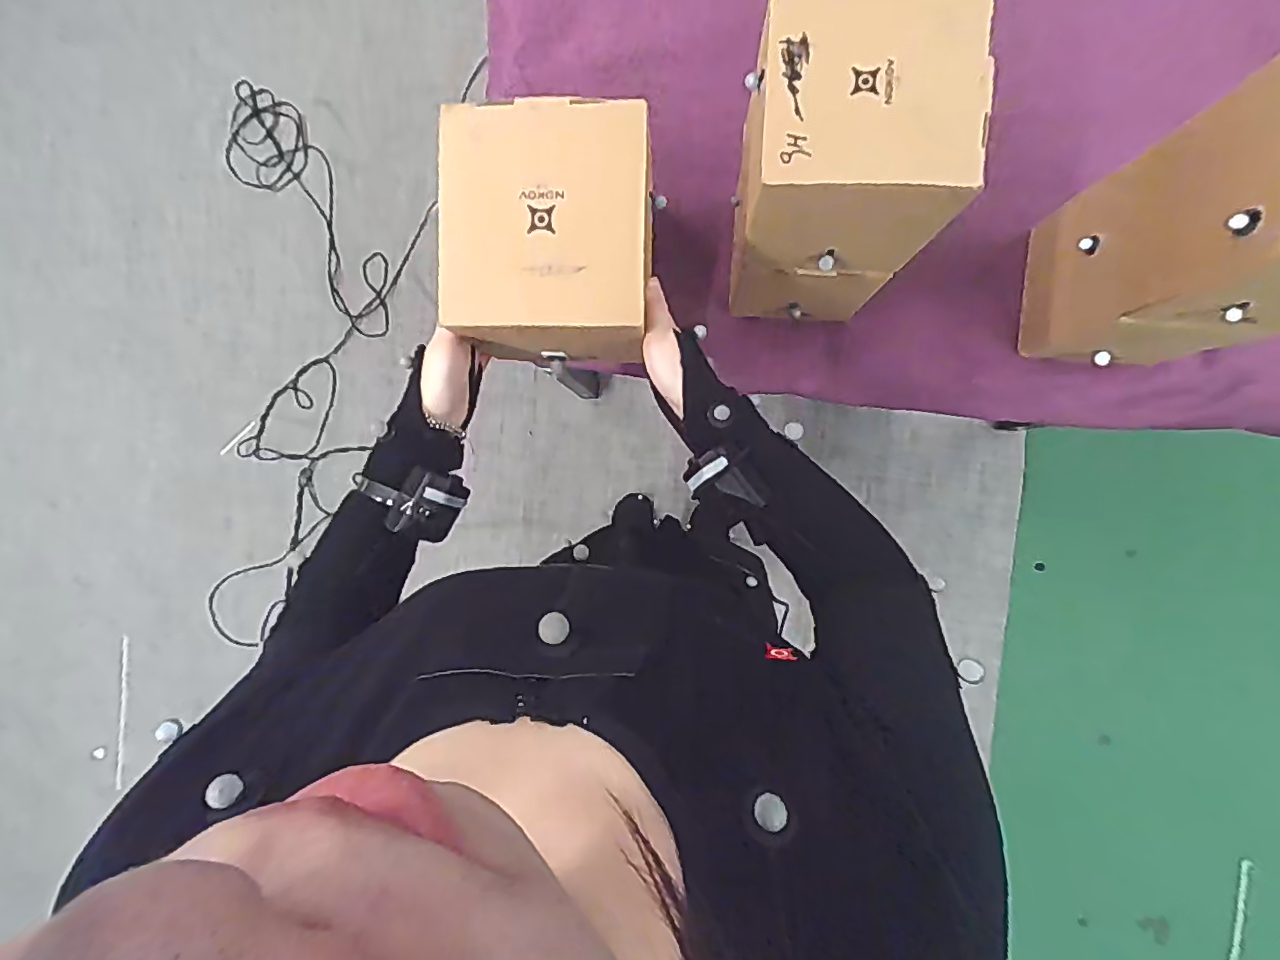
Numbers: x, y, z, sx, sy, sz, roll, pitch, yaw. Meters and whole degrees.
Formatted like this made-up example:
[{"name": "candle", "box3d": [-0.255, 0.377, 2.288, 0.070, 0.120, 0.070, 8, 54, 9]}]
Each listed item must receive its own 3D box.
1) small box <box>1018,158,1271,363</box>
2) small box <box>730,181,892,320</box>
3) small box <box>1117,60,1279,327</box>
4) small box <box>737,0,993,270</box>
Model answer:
[{"name": "small box", "box3d": [0.594, -0.251, 0.652, 0.168, 0.176, 0.179, 5, 92, 4]}, {"name": "small box", "box3d": [0.206, -0.315, 0.676, 0.168, 0.176, 0.179, 4, 90, 5]}, {"name": "small box", "box3d": [0.585, -0.253, 0.489, 0.168, 0.176, 0.179, 5, 91, 4]}, {"name": "small box", "box3d": [0.194, -0.312, 0.511, 0.179, 0.176, 0.168, 3, 88, 3]}]
